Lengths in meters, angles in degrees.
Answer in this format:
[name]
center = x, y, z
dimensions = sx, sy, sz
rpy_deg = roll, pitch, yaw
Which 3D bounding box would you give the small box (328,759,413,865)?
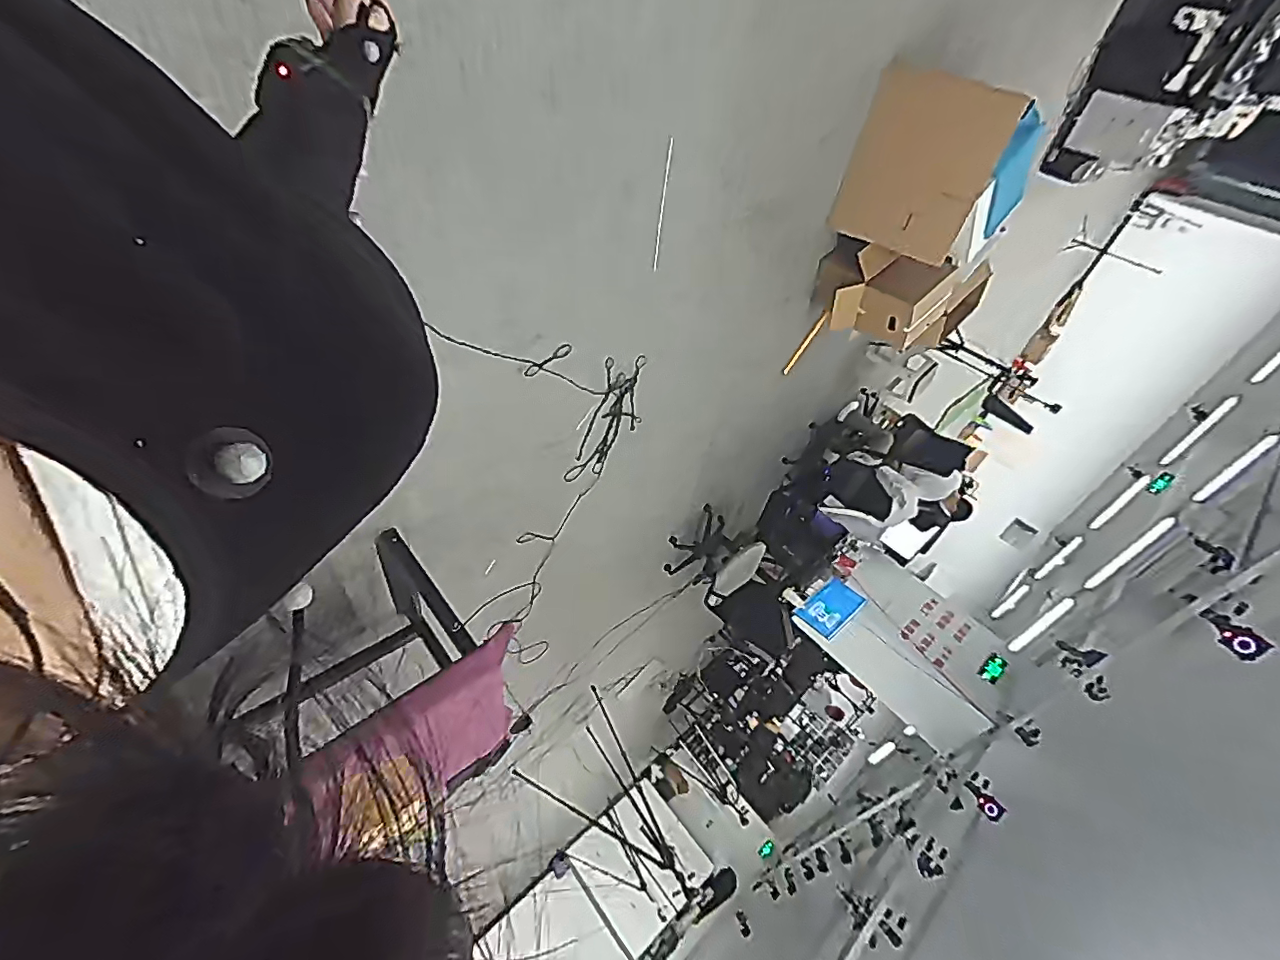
[small box]
center = -0.775, 0.939, 1.547
dimensions = 0.168, 0.176, 0.179
rpy_deg = -19, 141, -44
